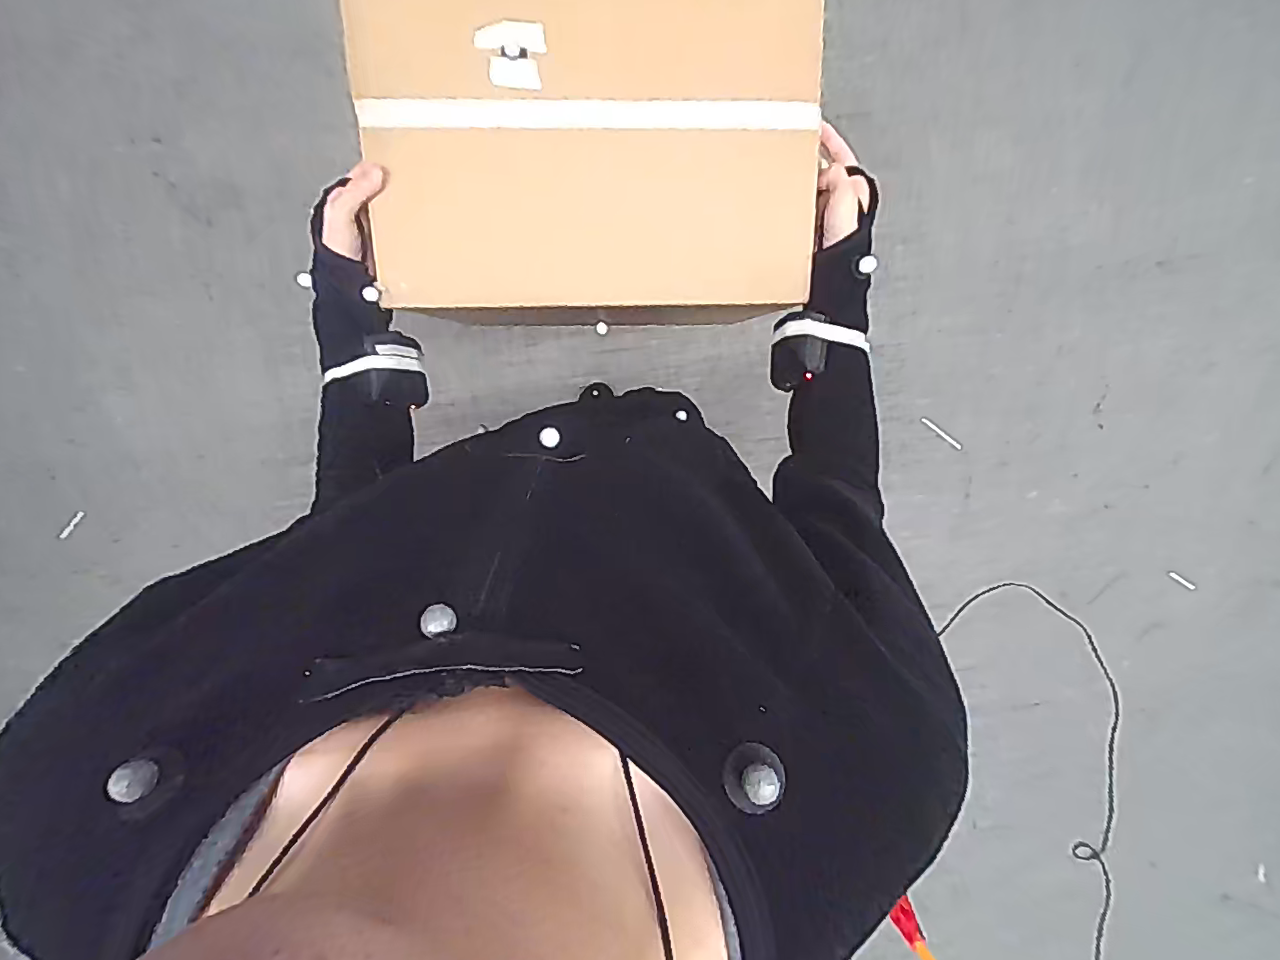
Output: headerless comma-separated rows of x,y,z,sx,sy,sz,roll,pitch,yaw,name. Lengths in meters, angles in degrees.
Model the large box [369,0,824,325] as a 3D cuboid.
-0.038,-0.352,0.637,0.408,0.320,0.320,-1,102,-2,large box
